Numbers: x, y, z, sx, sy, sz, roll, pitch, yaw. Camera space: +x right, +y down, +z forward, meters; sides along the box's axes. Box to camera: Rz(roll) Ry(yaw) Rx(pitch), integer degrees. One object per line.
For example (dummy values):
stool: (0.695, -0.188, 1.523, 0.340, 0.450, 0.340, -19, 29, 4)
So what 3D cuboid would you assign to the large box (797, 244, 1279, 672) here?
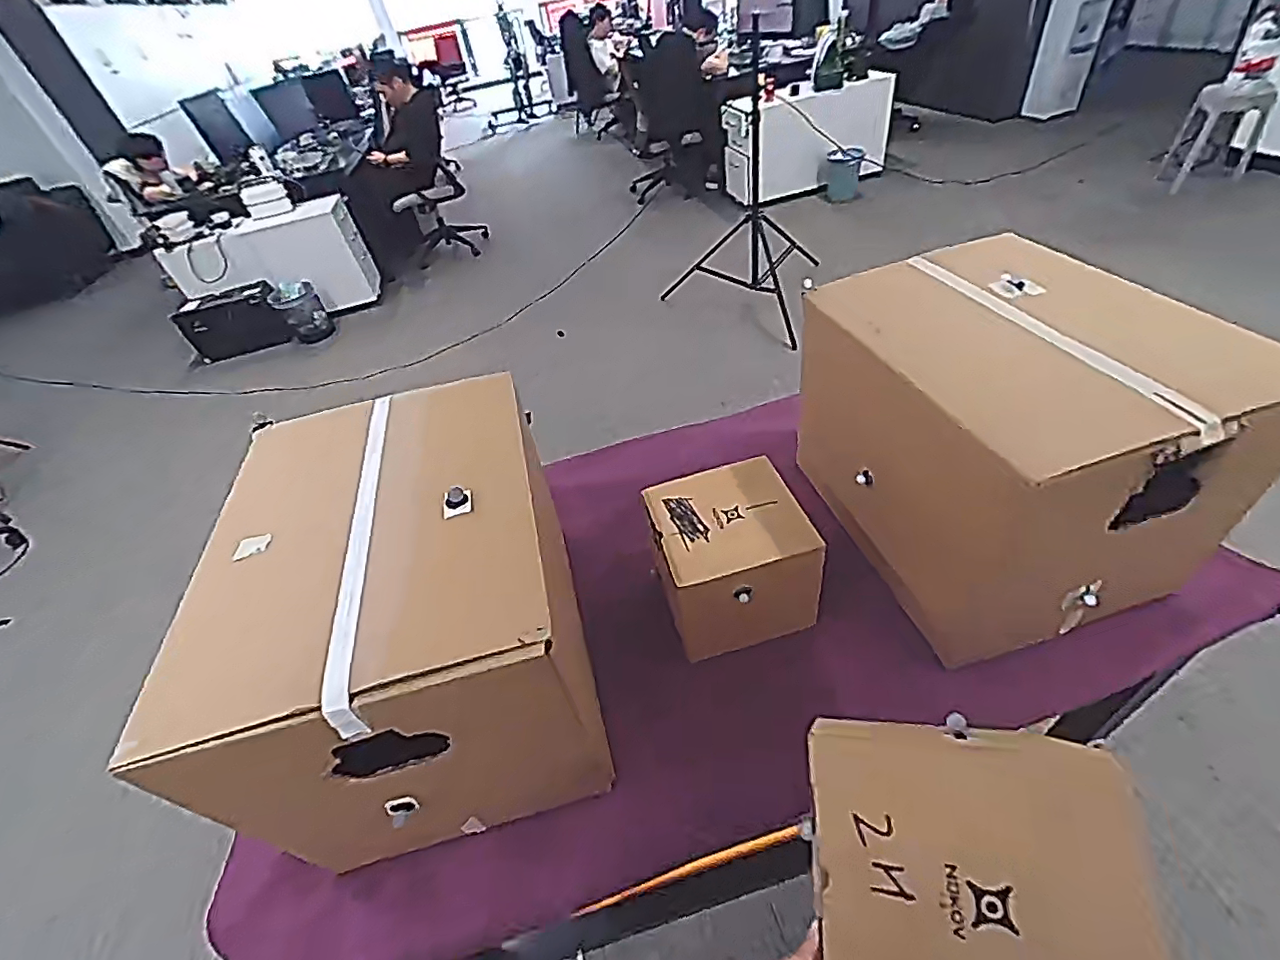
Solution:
large box: (0.431, -0.048, 0.679, 0.320, 0.320, 0.408, -16, 42, -5)

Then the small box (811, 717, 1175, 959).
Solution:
small box: (0.214, 0.261, 0.374, 0.179, 0.176, 0.168, -4, 69, 18)
